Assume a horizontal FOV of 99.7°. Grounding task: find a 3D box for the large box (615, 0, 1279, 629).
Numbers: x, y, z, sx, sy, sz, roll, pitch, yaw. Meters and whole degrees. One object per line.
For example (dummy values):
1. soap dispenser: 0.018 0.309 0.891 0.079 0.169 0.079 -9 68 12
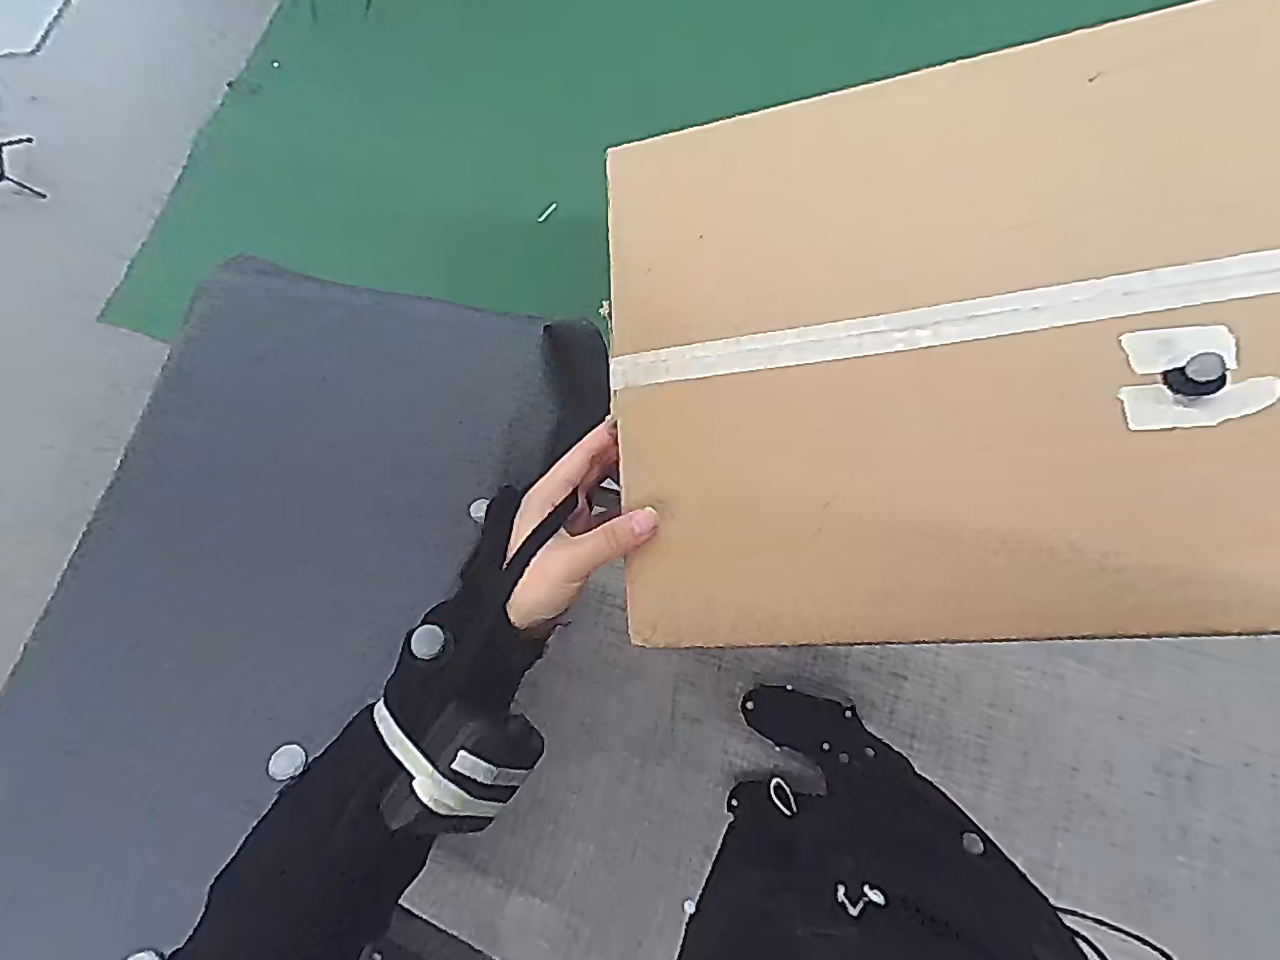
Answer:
1. large box: 0.217 -0.058 0.431 0.408 0.320 0.320 -6 77 12
